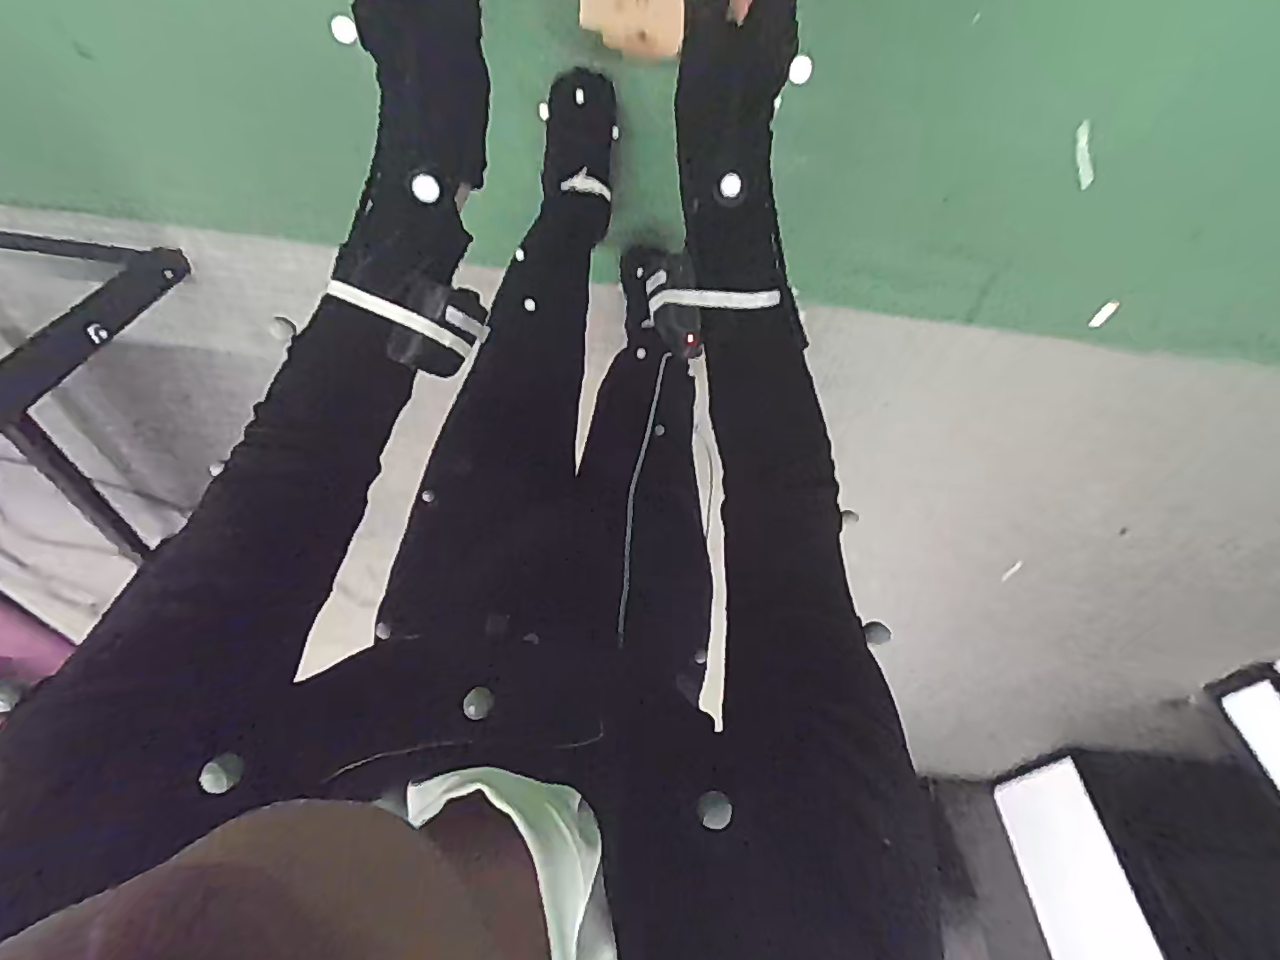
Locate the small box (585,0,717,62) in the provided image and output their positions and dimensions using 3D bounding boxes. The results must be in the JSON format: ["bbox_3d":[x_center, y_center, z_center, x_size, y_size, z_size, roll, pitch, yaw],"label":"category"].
[{"bbox_3d":[0.023,-0.694,0.716,0.168,0.176,0.179,8,137,-6],"label":"small box"}]
